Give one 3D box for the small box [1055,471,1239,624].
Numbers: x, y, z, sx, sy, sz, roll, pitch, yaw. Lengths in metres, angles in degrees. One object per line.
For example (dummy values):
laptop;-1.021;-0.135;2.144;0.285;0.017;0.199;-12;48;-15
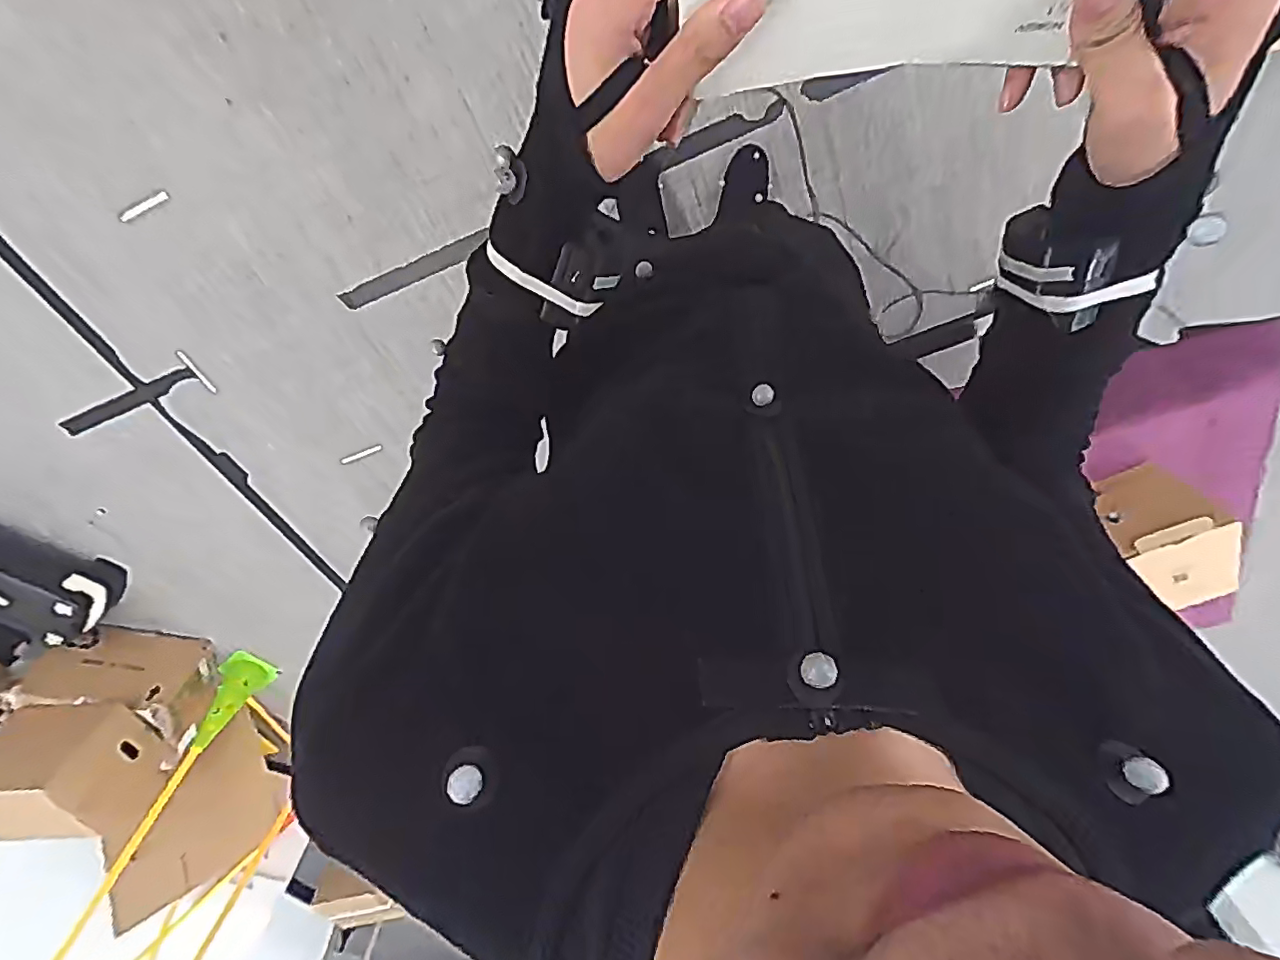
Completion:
small box;0.855;0.106;0.927;0.168;0.176;0.179;-26;120;16
